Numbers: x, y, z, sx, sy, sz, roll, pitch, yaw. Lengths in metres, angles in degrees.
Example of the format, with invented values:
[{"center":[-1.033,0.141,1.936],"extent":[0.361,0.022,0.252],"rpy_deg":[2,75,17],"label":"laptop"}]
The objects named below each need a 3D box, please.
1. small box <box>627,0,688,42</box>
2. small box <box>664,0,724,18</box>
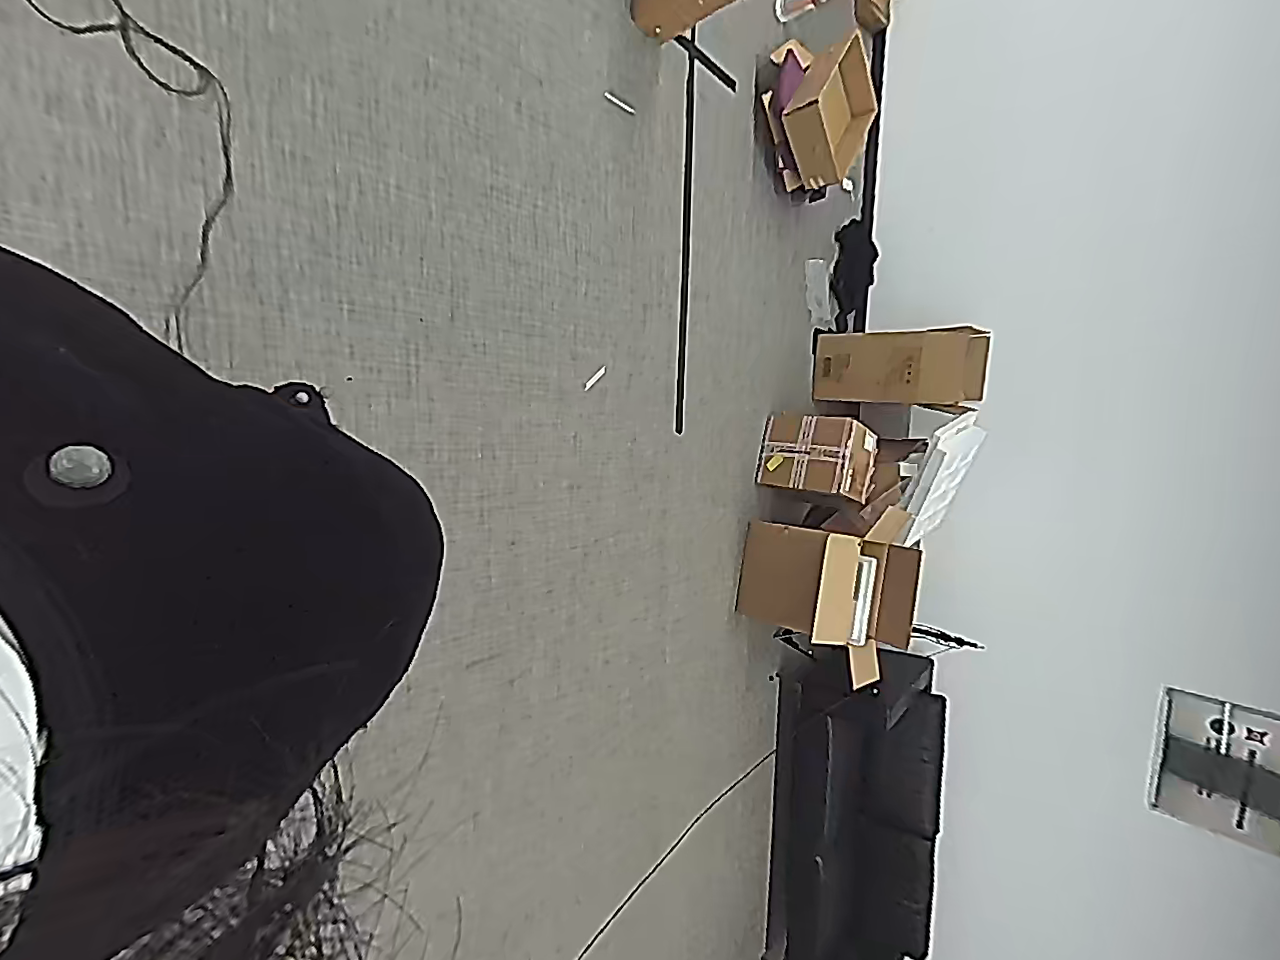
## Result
[{"center":[0.066,-1.783,1.994],"extent":[0.168,0.176,0.179],"rpy_deg":[-6,100,-47],"label":"small box"},{"center":[0.183,-1.763,1.880],"extent":[0.179,0.176,0.168],"rpy_deg":[-6,100,-46],"label":"small box"}]
